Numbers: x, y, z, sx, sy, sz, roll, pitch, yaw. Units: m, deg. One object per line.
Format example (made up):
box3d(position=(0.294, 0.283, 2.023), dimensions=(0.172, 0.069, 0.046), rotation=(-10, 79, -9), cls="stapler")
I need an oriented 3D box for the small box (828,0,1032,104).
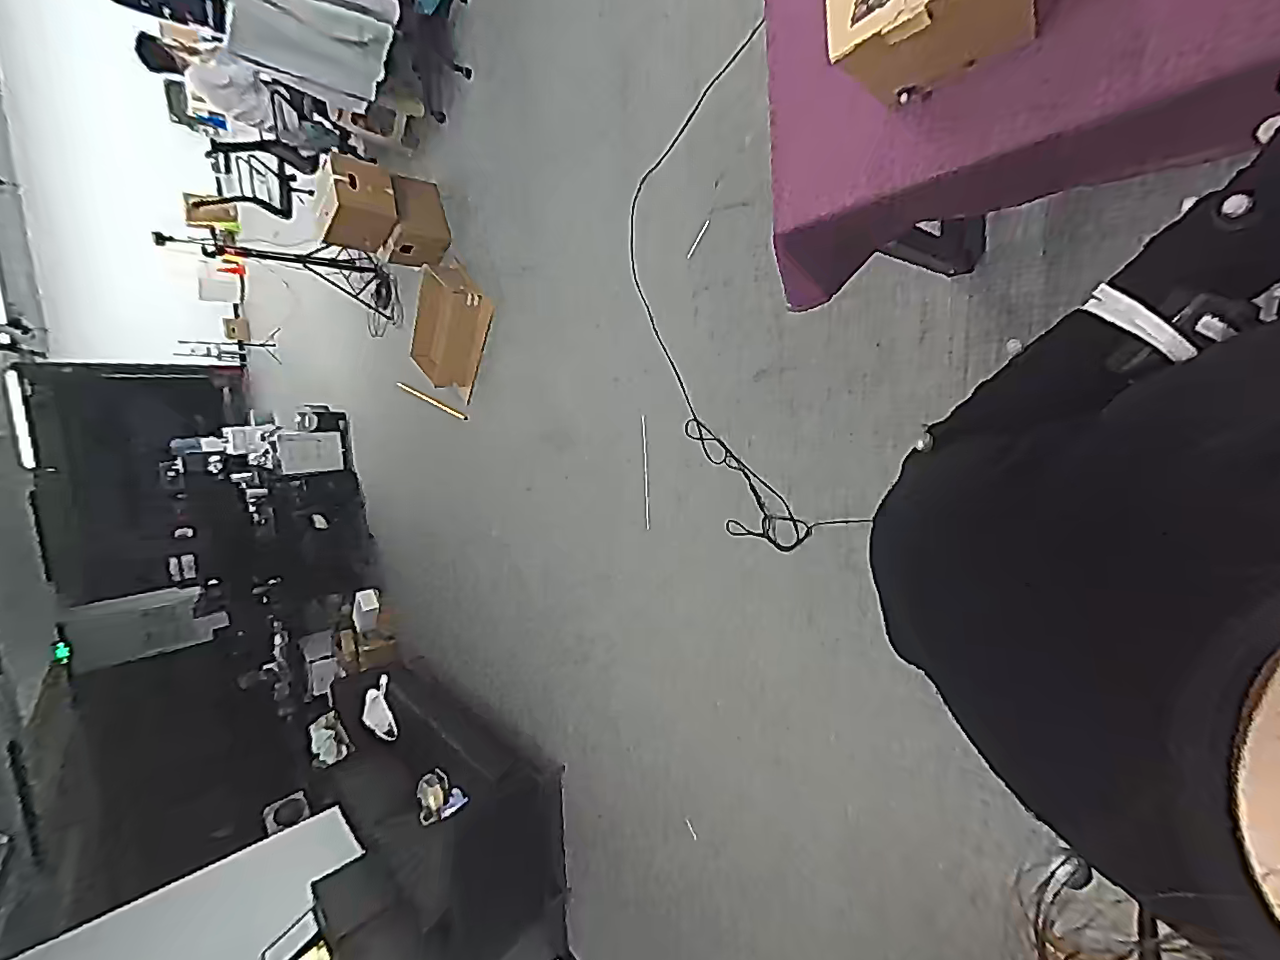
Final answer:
box3d(position=(0.334, -0.573, 0.621), dimensions=(0.168, 0.176, 0.179), rotation=(2, 97, 47), cls="small box")
